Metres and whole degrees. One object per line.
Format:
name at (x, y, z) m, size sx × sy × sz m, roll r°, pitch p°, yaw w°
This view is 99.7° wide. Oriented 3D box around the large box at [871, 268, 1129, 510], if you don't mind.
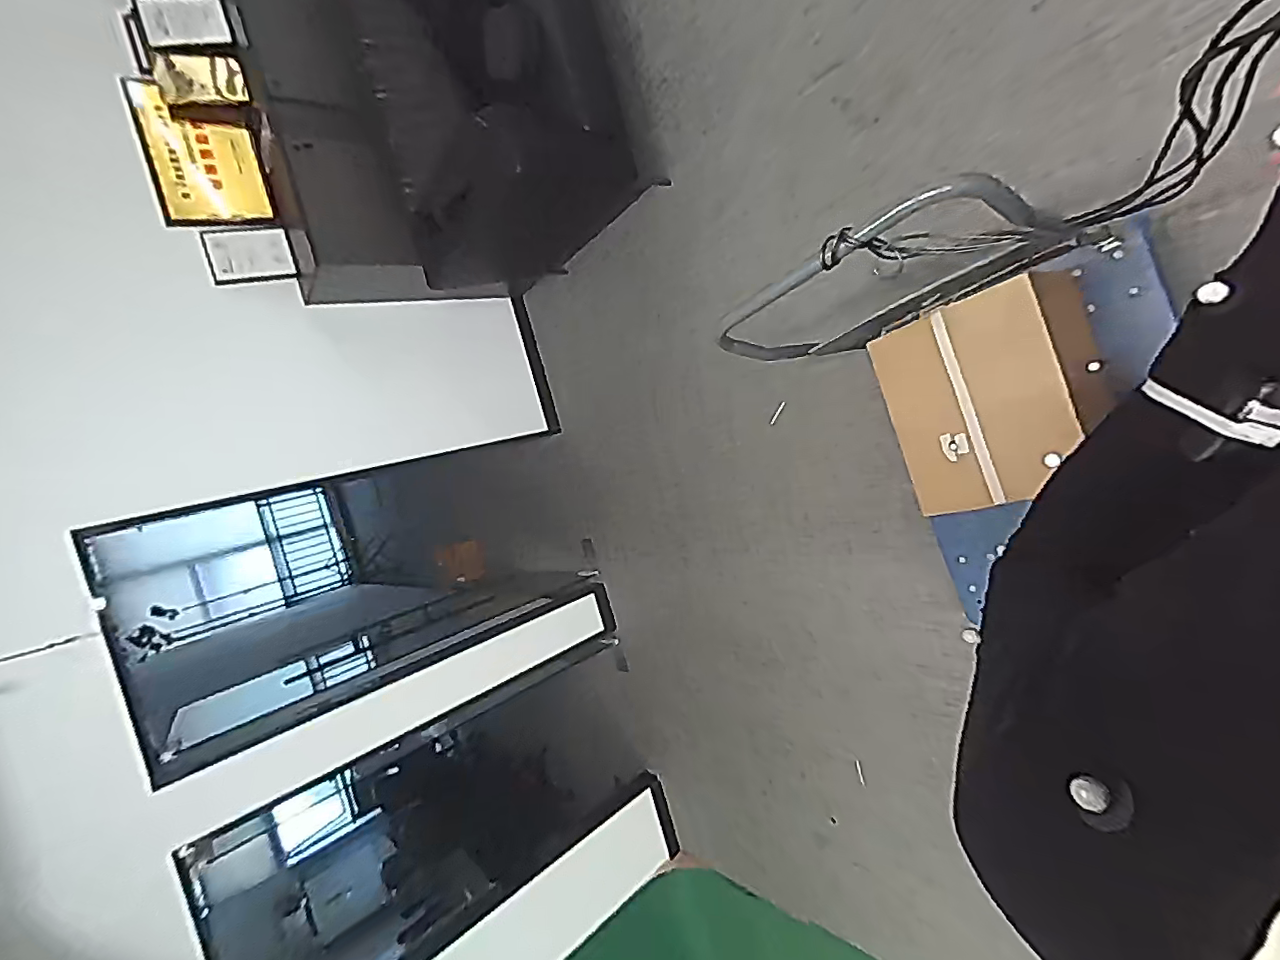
large box at (0.765, -0.188, 1.155) m, size 0.320 × 0.320 × 0.408 m, roll -20°, pitch 88°, yaw 51°
